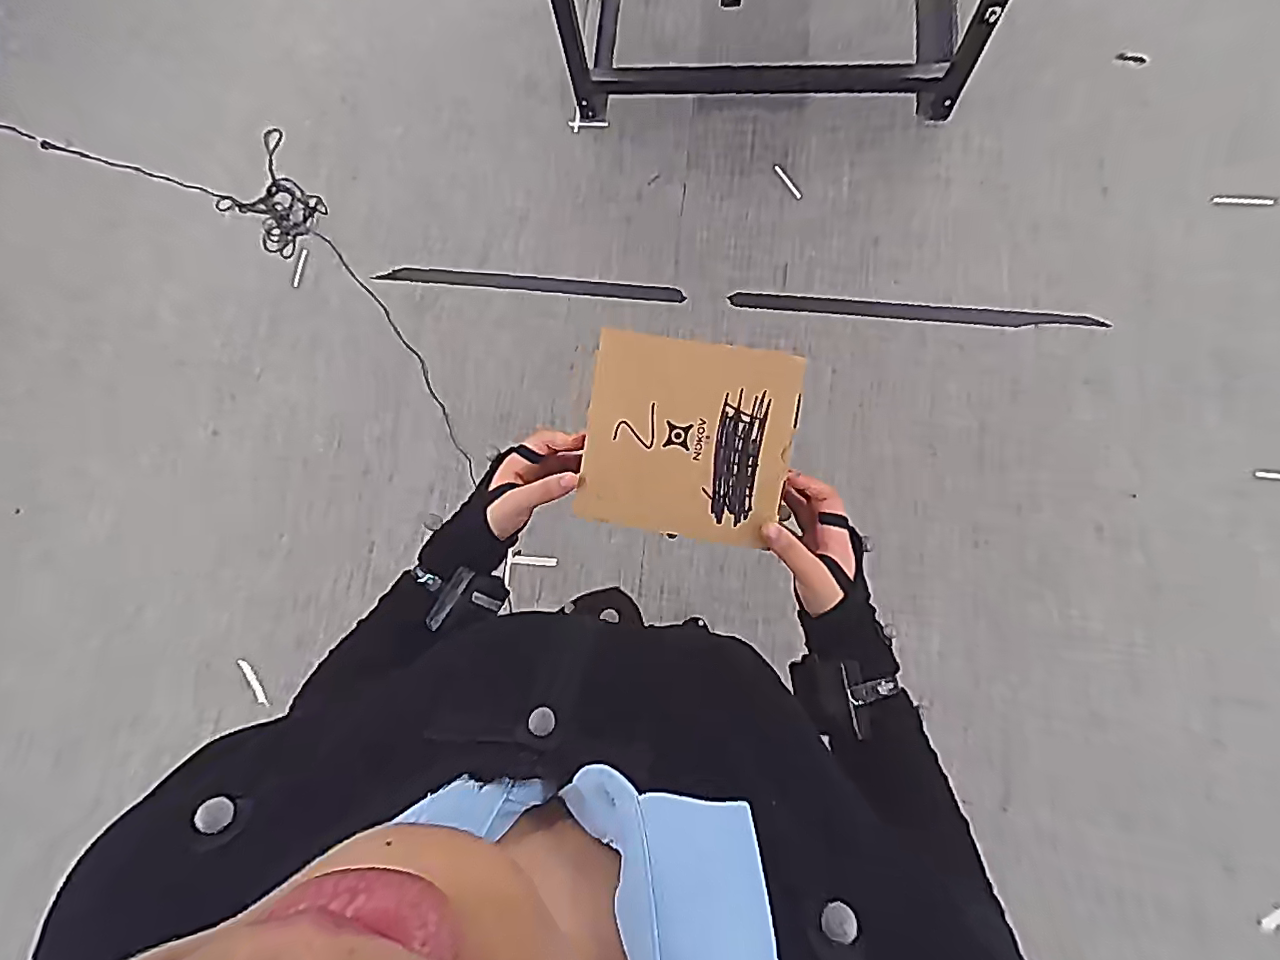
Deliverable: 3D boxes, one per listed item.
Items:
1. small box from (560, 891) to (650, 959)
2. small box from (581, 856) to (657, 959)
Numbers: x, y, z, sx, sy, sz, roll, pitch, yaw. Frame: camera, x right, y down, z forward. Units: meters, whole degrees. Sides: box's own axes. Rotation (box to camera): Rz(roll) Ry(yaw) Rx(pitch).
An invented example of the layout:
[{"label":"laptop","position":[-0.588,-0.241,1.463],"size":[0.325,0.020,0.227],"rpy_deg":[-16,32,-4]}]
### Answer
[{"label":"small box","position":[-0.072,0.993,1.104],"size":[0.168,0.176,0.179],"rpy_deg":[6,78,7]},{"label":"small box","position":[-0.051,1.018,1.264],"size":[0.168,0.176,0.179],"rpy_deg":[4,79,7]}]
